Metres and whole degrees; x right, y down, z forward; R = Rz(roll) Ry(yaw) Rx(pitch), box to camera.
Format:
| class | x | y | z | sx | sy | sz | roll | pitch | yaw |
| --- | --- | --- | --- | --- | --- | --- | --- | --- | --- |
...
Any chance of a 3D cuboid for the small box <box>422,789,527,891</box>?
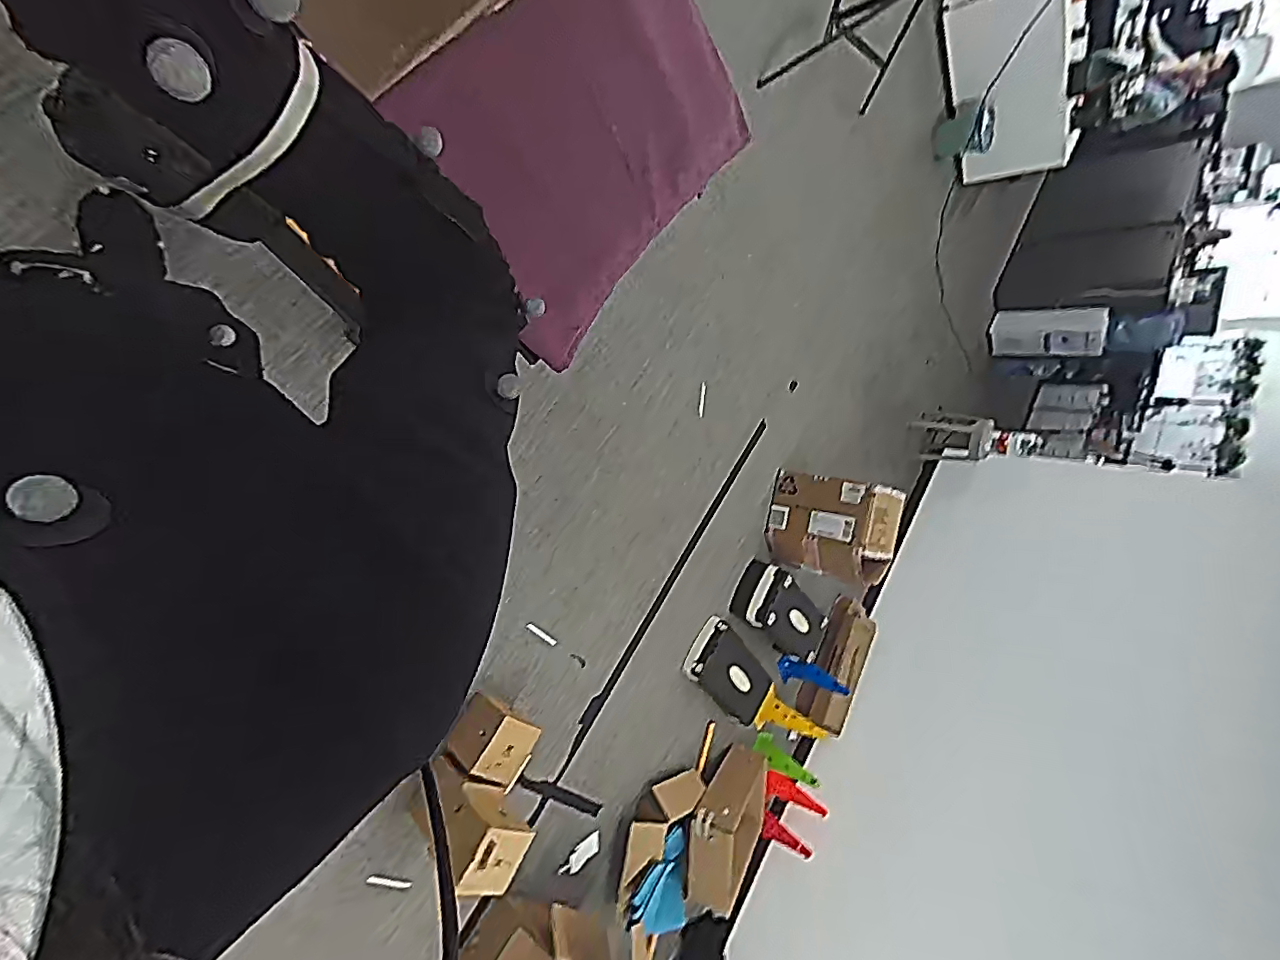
| class | x | y | z | sx | sy | sz | roll | pitch | yaw |
| --- | --- | --- | --- | --- | --- | --- | --- | --- | --- |
| small box | -0.450 | 0.967 | 1.458 | 0.179 | 0.176 | 0.168 | 45 | 68 | -43 |
